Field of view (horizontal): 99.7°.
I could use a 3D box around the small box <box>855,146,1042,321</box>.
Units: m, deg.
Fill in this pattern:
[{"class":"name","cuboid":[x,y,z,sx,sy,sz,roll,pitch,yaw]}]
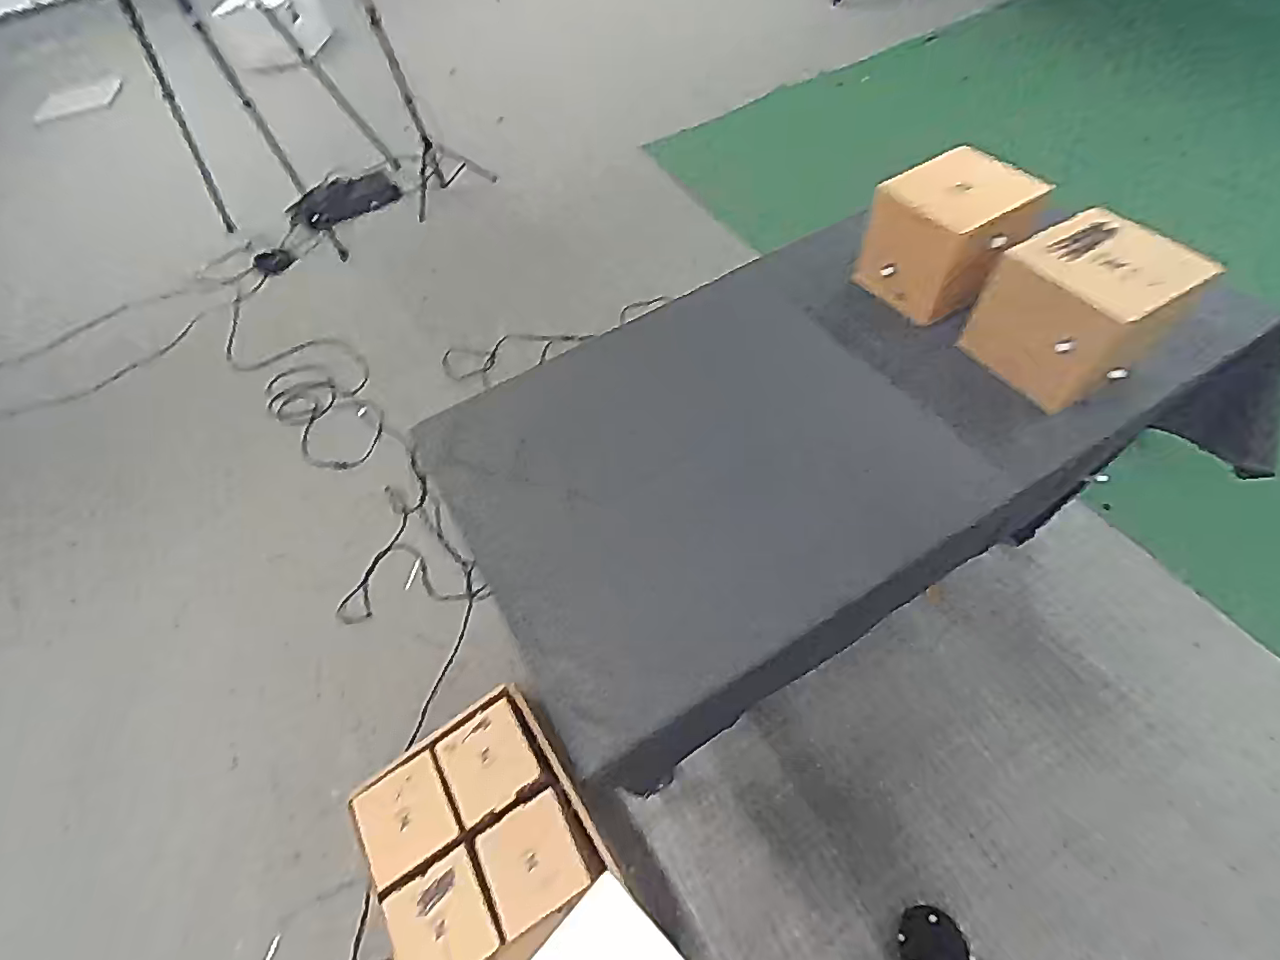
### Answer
[{"class":"small box","cuboid":[0.480,-0.395,0.875,0.179,0.176,0.168,-29,58,-10]}]
